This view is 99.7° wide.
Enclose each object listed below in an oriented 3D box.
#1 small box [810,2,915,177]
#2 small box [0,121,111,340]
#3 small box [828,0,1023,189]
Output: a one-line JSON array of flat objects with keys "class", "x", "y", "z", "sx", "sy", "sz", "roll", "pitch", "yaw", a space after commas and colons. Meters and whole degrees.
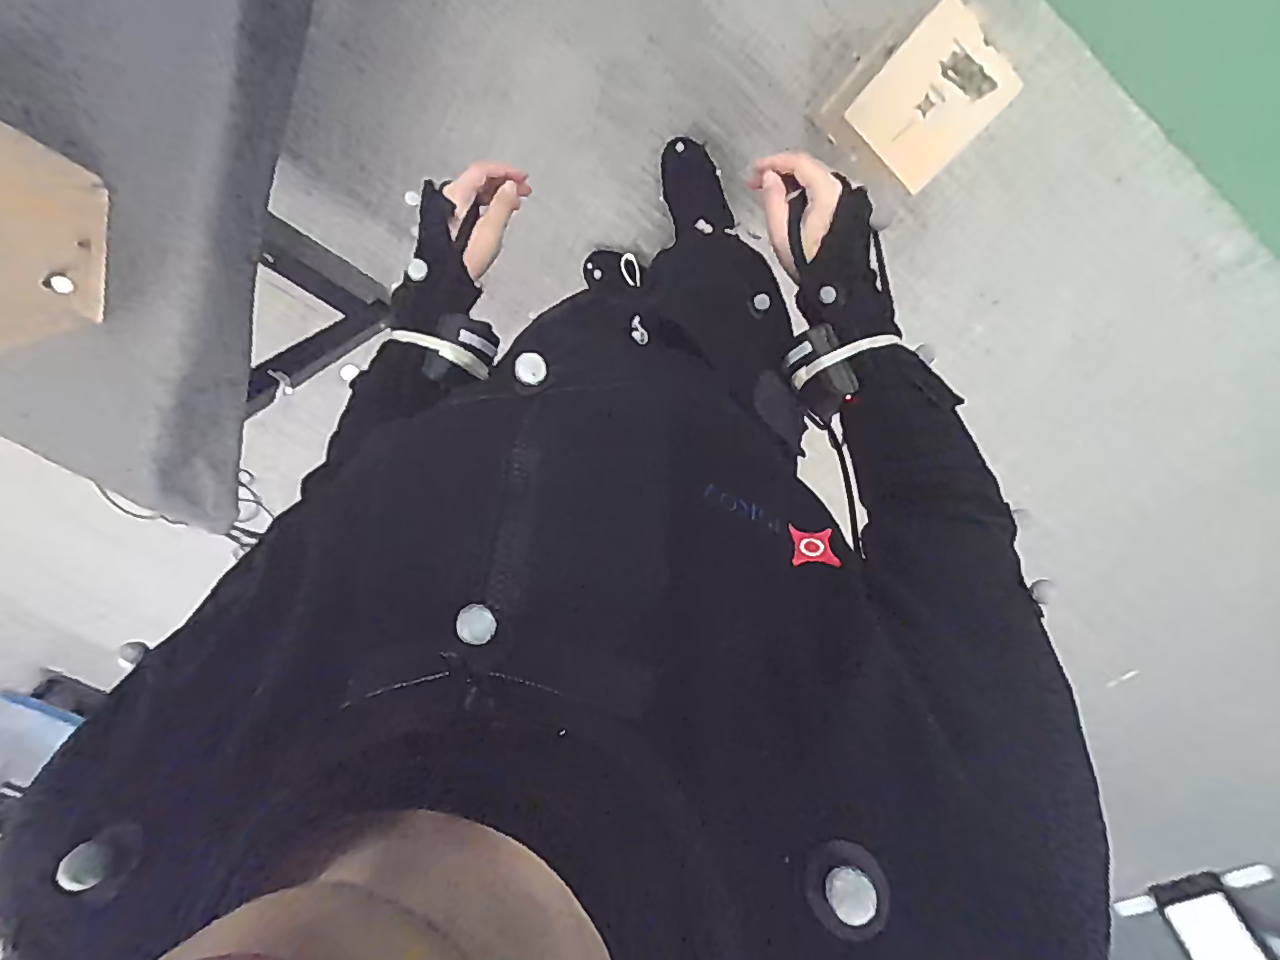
[{"class": "small box", "x": 0.422, "y": -0.672, "z": 0.946, "sx": 0.168, "sy": 0.176, "sz": 0.179, "roll": 37, "pitch": 121, "yaw": -16}, {"class": "small box", "x": -0.636, "y": -0.232, "z": 0.475, "sx": 0.179, "sy": 0.176, "sz": 0.168, "roll": 29, "pitch": 121, "yaw": -13}, {"class": "small box", "x": 0.411, "y": -0.577, "z": 0.813, "sx": 0.168, "sy": 0.176, "sz": 0.179, "roll": 37, "pitch": 120, "yaw": -16}]
